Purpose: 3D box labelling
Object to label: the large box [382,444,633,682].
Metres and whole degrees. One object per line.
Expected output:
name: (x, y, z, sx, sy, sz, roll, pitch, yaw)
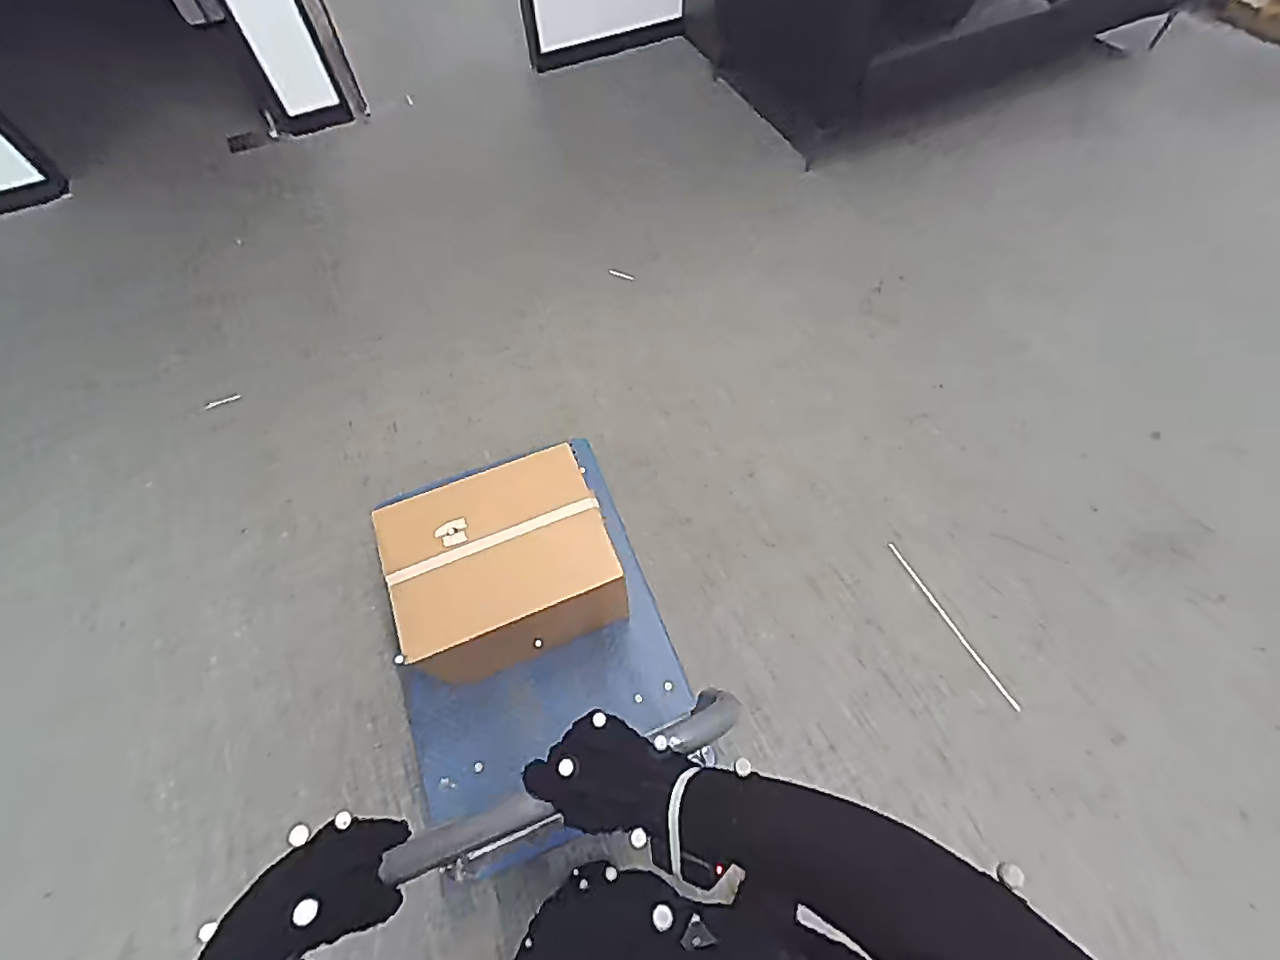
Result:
large box: (-0.259, 0.187, 1.154, 0.408, 0.320, 0.320, -22, 64, -10)
